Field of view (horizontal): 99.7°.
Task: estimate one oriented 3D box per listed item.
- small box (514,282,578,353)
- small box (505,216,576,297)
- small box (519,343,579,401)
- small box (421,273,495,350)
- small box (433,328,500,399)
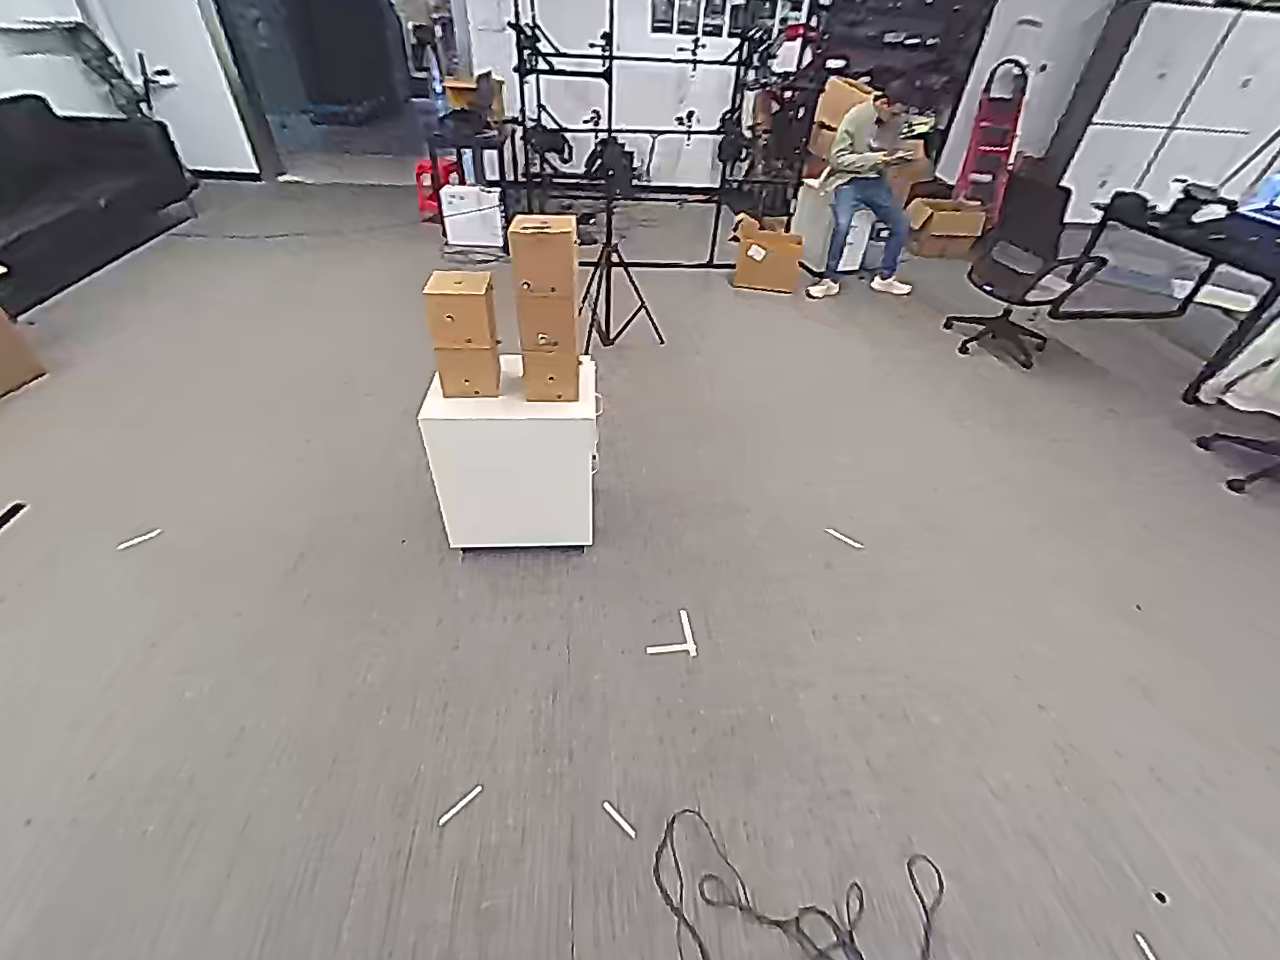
[{"bbox_3d":[-0.272,-0.489,1.592,0.168,0.176,0.179,-1,41,-4],"label":"small box"},{"bbox_3d":[-0.264,-0.613,1.485,0.168,0.176,0.179,0,38,-3],"label":"small box"},{"bbox_3d":[-0.278,-0.358,1.690,0.168,0.176,0.179,-1,41,-4],"label":"small box"},{"bbox_3d":[-0.521,-0.491,1.576,0.168,0.176,0.179,-1,40,-7],"label":"small box"},{"bbox_3d":[-0.533,-0.369,1.682,0.168,0.176,0.179,-2,41,-7],"label":"small box"}]
